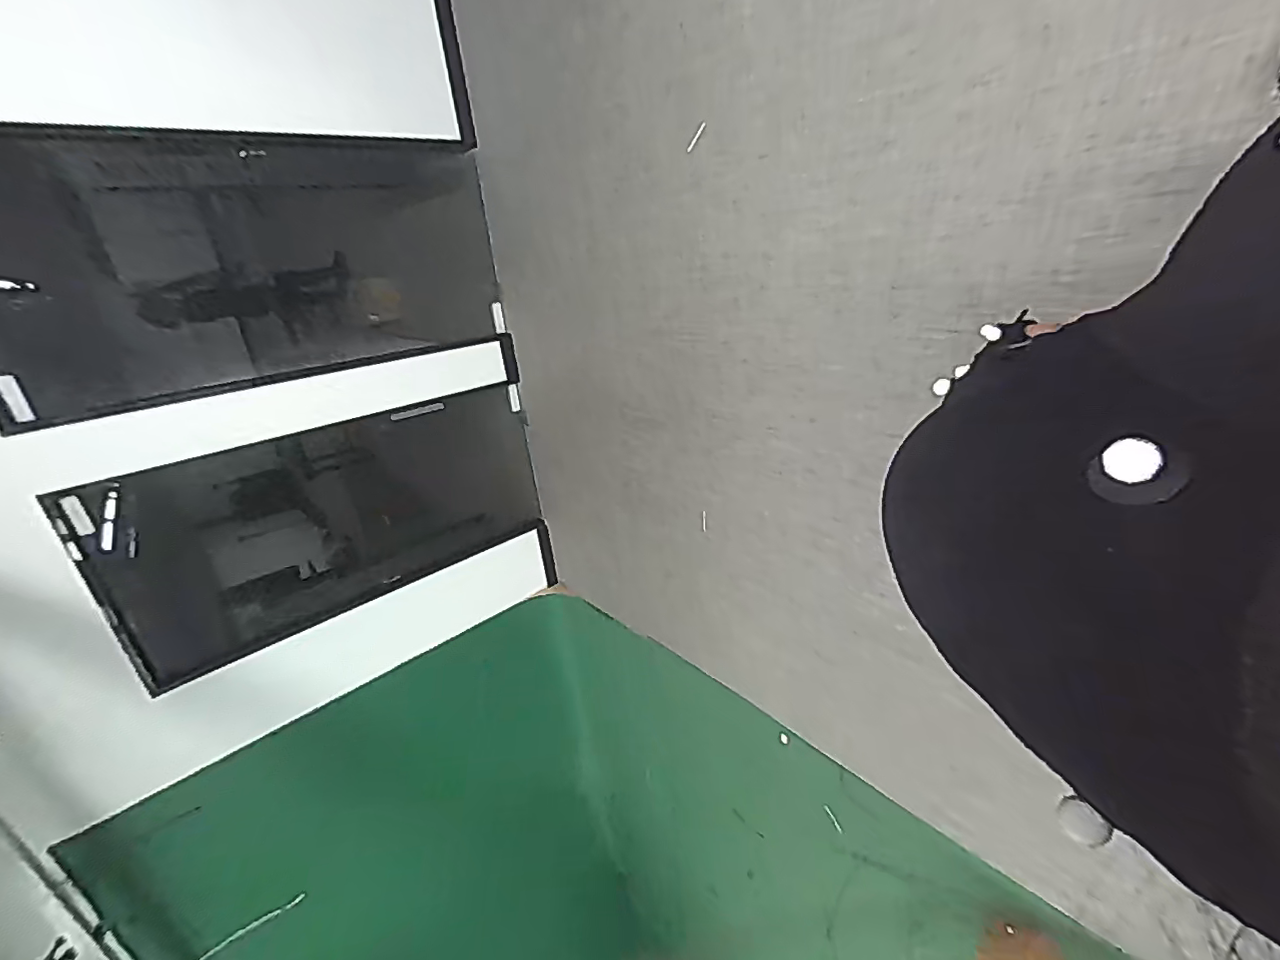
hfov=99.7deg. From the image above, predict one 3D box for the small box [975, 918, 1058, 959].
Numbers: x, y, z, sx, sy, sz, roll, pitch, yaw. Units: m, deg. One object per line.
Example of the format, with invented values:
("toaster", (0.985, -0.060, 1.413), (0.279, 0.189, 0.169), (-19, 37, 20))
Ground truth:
("small box", (1.223, 1.564, 1.722), (0.168, 0.176, 0.179), (-39, 76, 54))
